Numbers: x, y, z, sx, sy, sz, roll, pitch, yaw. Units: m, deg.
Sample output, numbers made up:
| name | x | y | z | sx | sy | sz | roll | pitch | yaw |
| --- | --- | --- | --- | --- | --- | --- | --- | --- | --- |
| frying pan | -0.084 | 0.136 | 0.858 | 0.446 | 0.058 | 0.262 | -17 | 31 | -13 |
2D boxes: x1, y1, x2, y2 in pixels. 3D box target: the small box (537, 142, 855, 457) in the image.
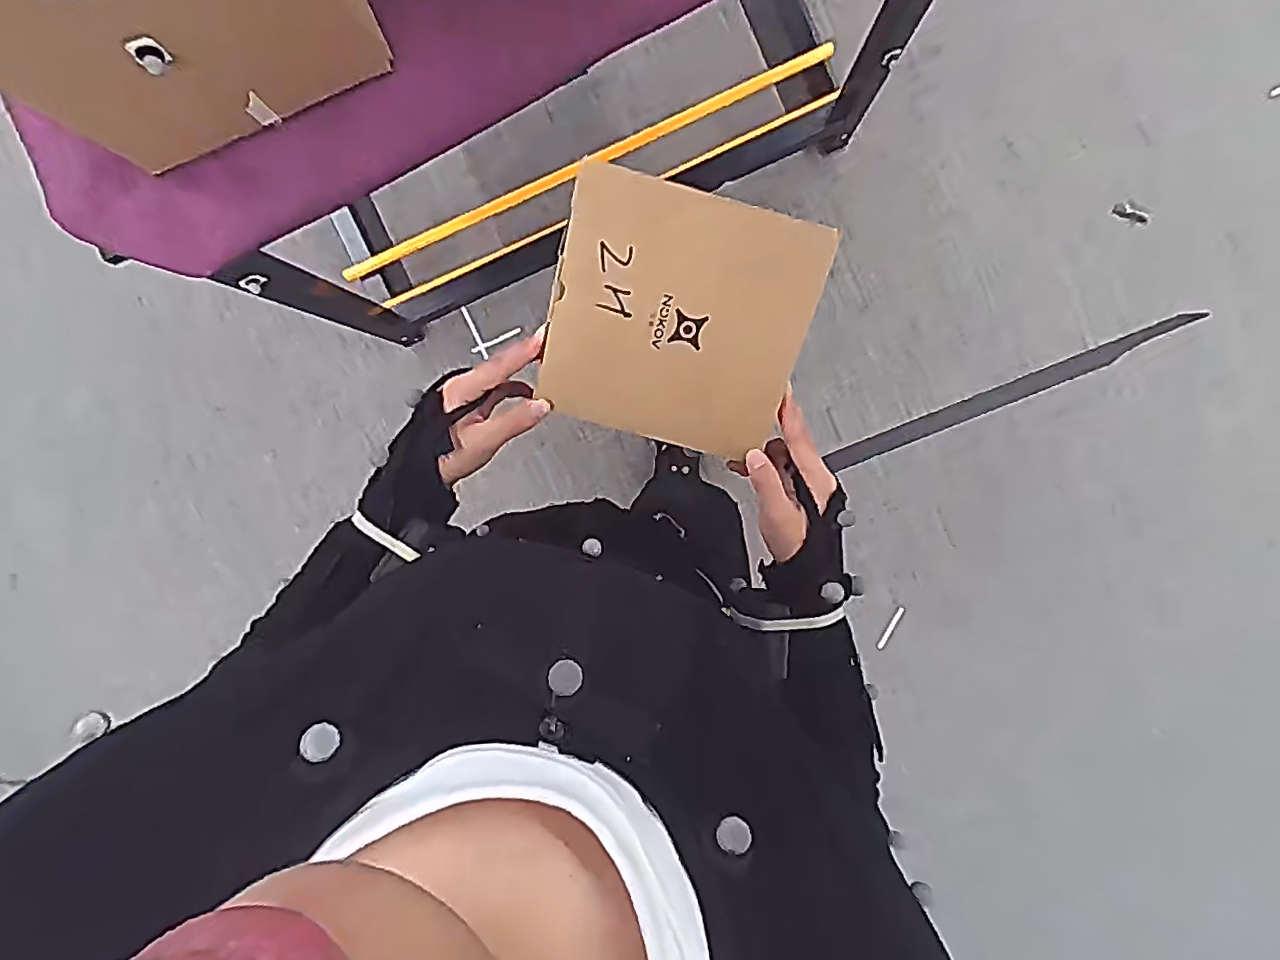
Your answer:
| name | x | y | z | sx | sy | sz | roll | pitch | yaw |
| --- | --- | --- | --- | --- | --- | --- | --- | --- | --- |
| small box | 0.035 | -0.139 | 0.434 | 0.179 | 0.176 | 0.168 | 16 | 110 | -2 |
